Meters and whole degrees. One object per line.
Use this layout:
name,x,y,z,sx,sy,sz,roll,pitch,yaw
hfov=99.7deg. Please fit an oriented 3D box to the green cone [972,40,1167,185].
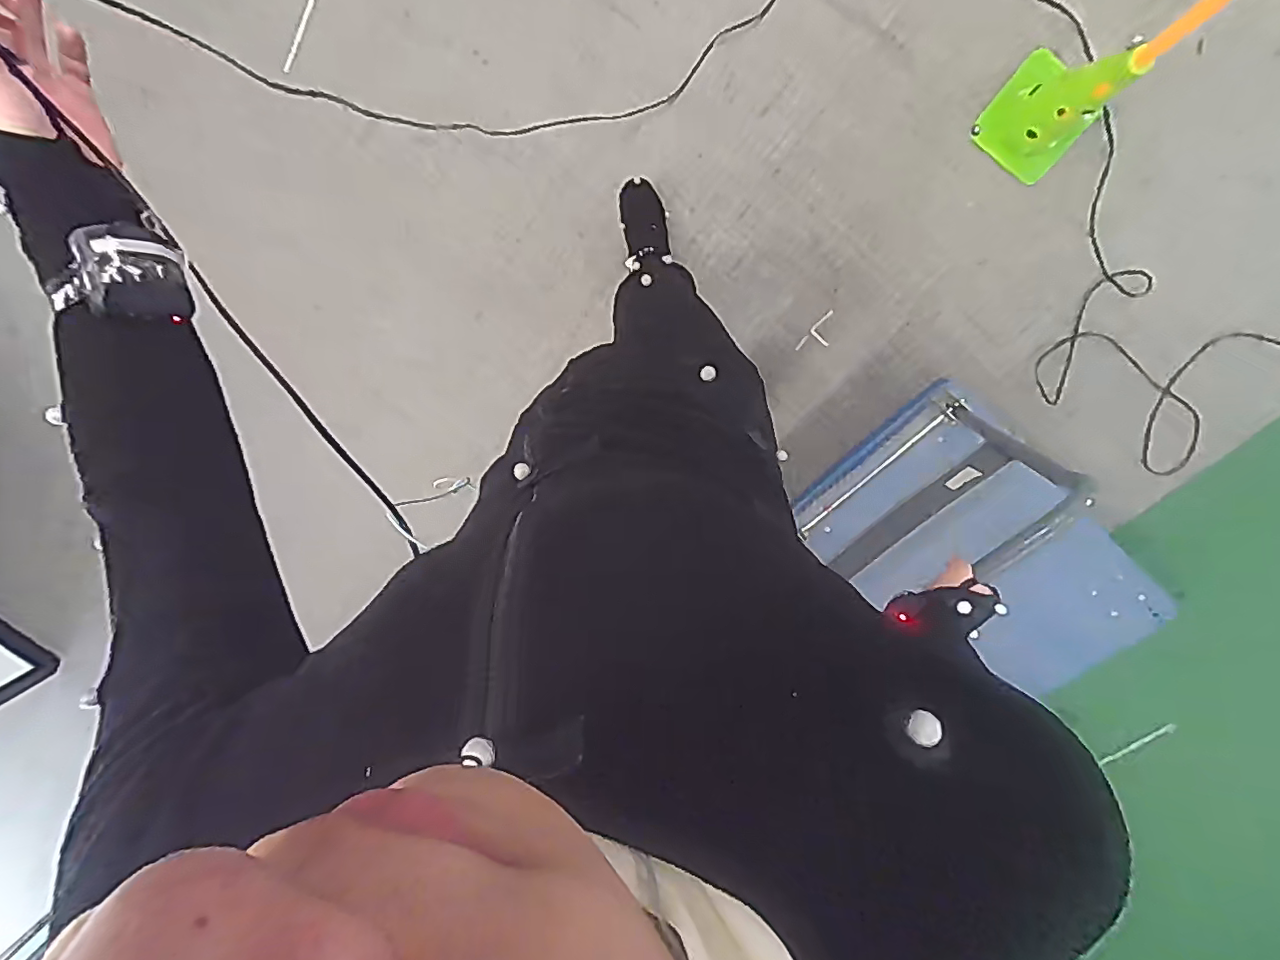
green cone,0.843,-0.731,1.027,0.200,0.368,0.202,36,111,-4
